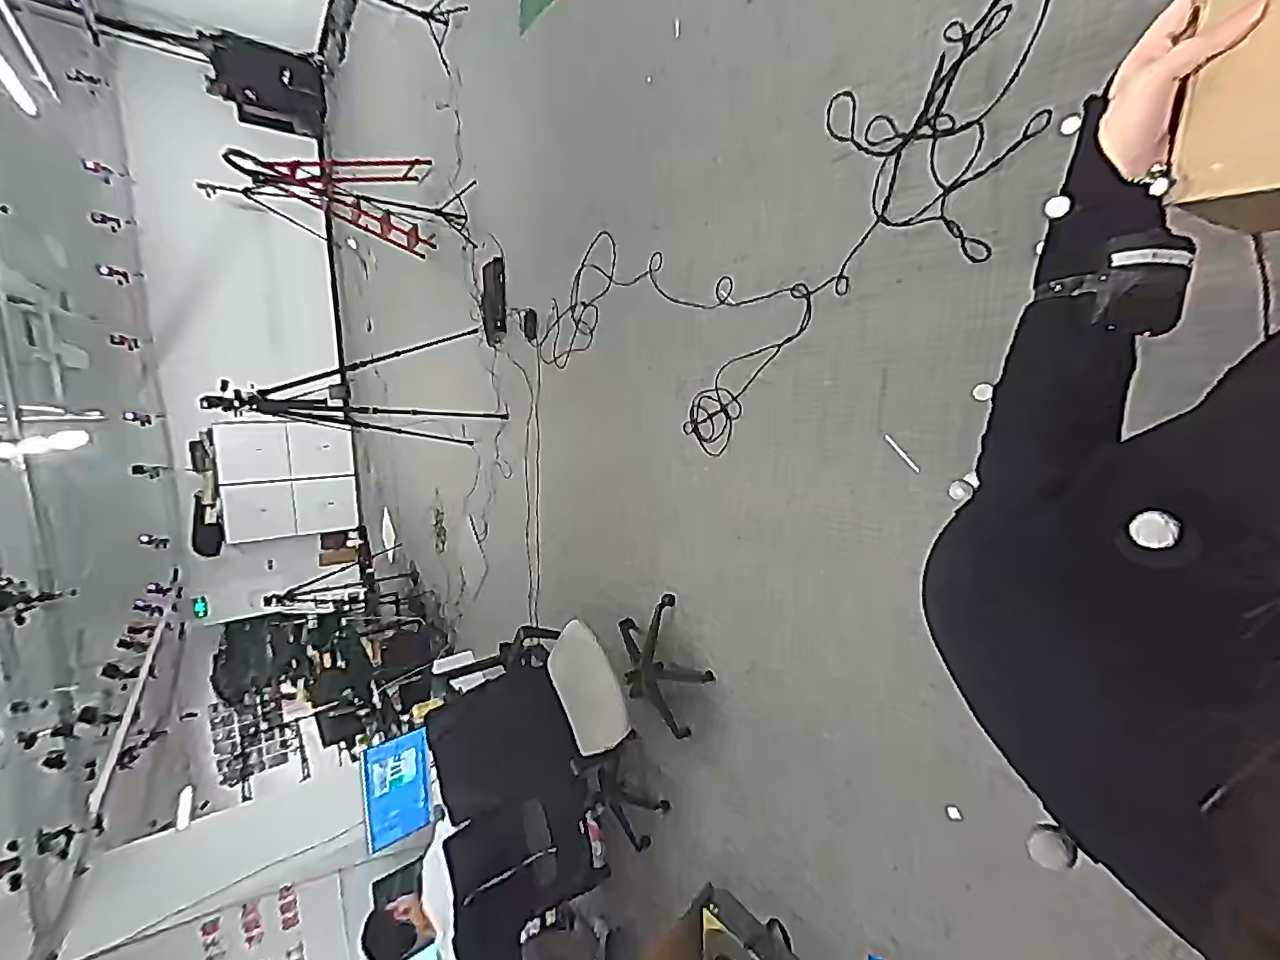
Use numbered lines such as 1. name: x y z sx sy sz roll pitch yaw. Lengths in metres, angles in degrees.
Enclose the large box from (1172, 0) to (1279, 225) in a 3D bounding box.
1. large box: 0.623 -0.345 0.286 0.408 0.320 0.320 18 115 53
